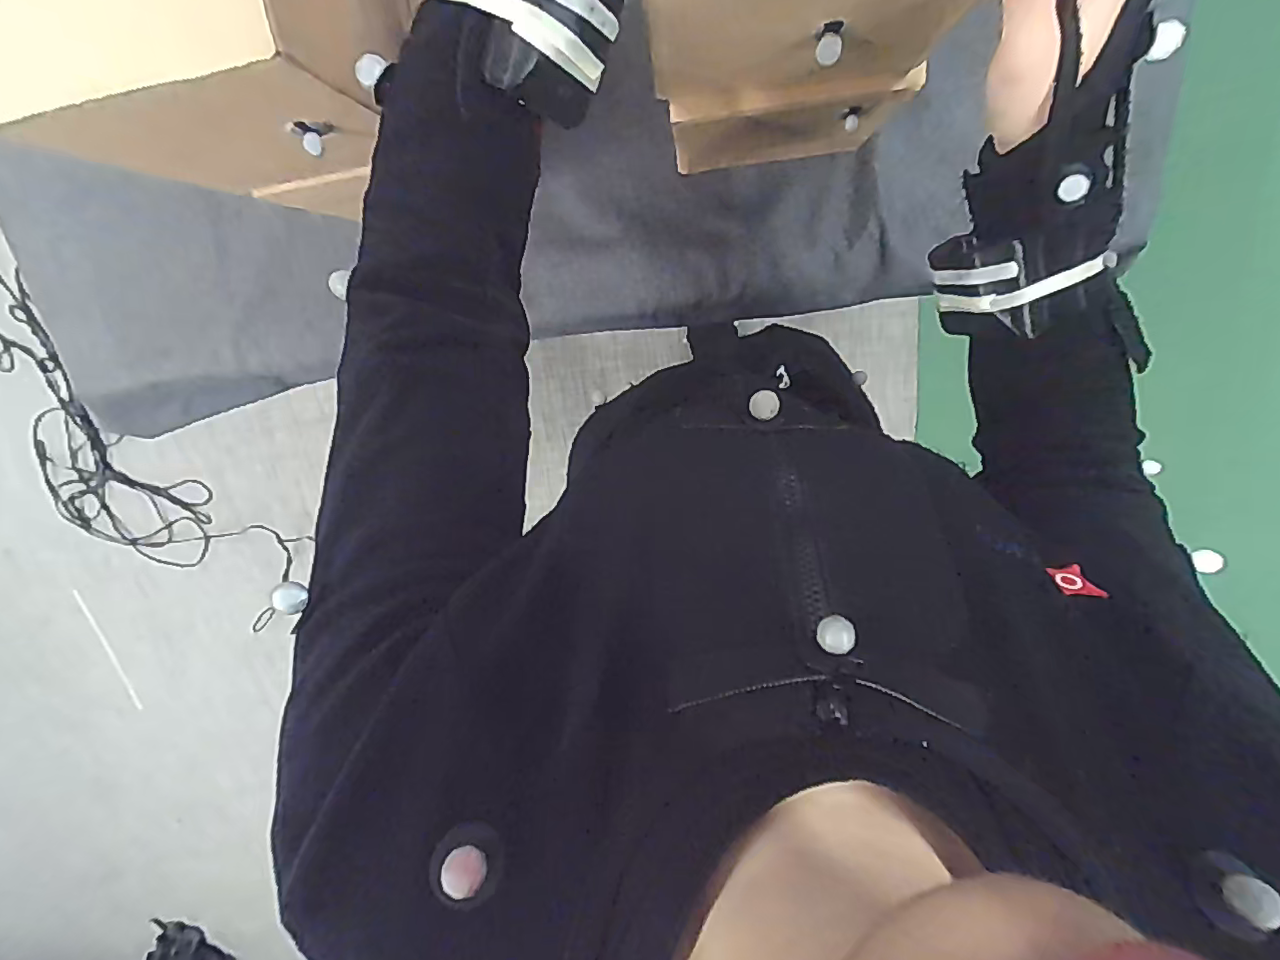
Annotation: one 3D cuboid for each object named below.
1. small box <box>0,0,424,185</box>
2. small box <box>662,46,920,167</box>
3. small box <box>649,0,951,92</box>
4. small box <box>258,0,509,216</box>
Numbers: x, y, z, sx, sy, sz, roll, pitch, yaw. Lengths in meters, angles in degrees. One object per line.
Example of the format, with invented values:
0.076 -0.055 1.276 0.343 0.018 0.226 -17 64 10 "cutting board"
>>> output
-0.251 -0.292 0.317 0.179 0.176 0.168 -7 107 9 "small box"
0.104 -0.368 0.431 0.179 0.176 0.168 -4 108 6 "small box"
0.085 -0.327 0.269 0.179 0.176 0.168 -3 108 6 "small box"
-0.230 -0.345 0.468 0.168 0.176 0.179 -6 109 8 "small box"
